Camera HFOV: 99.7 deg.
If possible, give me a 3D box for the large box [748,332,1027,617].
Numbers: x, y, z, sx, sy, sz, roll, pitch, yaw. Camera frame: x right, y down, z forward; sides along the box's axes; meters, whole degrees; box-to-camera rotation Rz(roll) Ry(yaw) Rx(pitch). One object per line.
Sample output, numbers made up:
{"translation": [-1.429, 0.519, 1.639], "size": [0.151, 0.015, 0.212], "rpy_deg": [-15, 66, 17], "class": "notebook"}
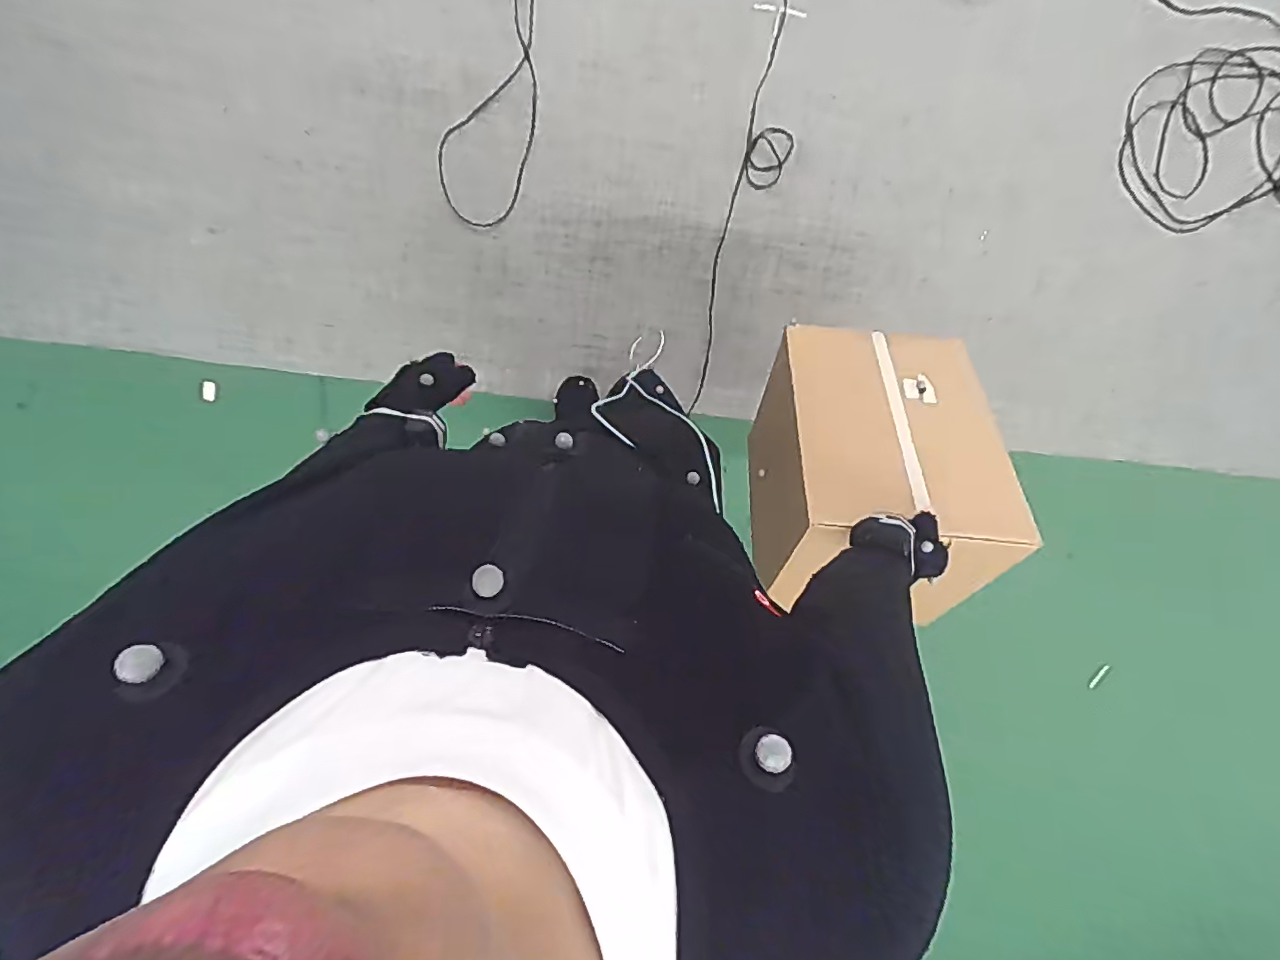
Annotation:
{"translation": [0.383, -0.003, 0.969], "size": [0.320, 0.320, 0.408], "rpy_deg": [6, 55, -1], "class": "large box"}
